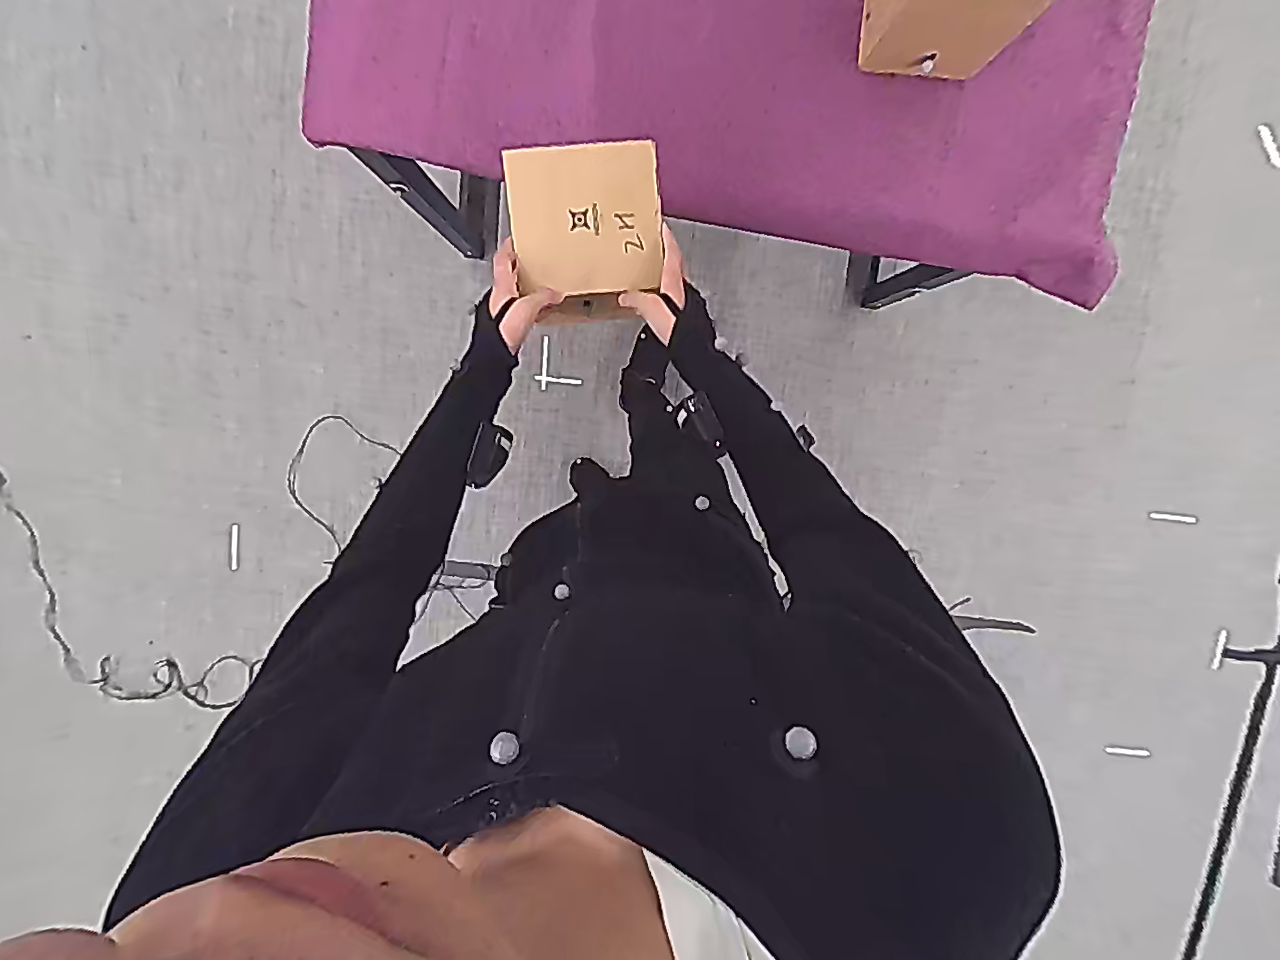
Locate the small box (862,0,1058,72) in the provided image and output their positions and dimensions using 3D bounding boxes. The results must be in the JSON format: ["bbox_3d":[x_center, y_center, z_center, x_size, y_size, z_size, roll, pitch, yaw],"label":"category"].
[{"bbox_3d":[0.419,-0.672,0.704,0.179,0.176,0.168,3,98,-3],"label":"small box"}]

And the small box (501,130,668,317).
[{"bbox_3d":[-0.066,-0.310,0.685,0.179,0.176,0.168,-6,96,-4],"label":"small box"}]
